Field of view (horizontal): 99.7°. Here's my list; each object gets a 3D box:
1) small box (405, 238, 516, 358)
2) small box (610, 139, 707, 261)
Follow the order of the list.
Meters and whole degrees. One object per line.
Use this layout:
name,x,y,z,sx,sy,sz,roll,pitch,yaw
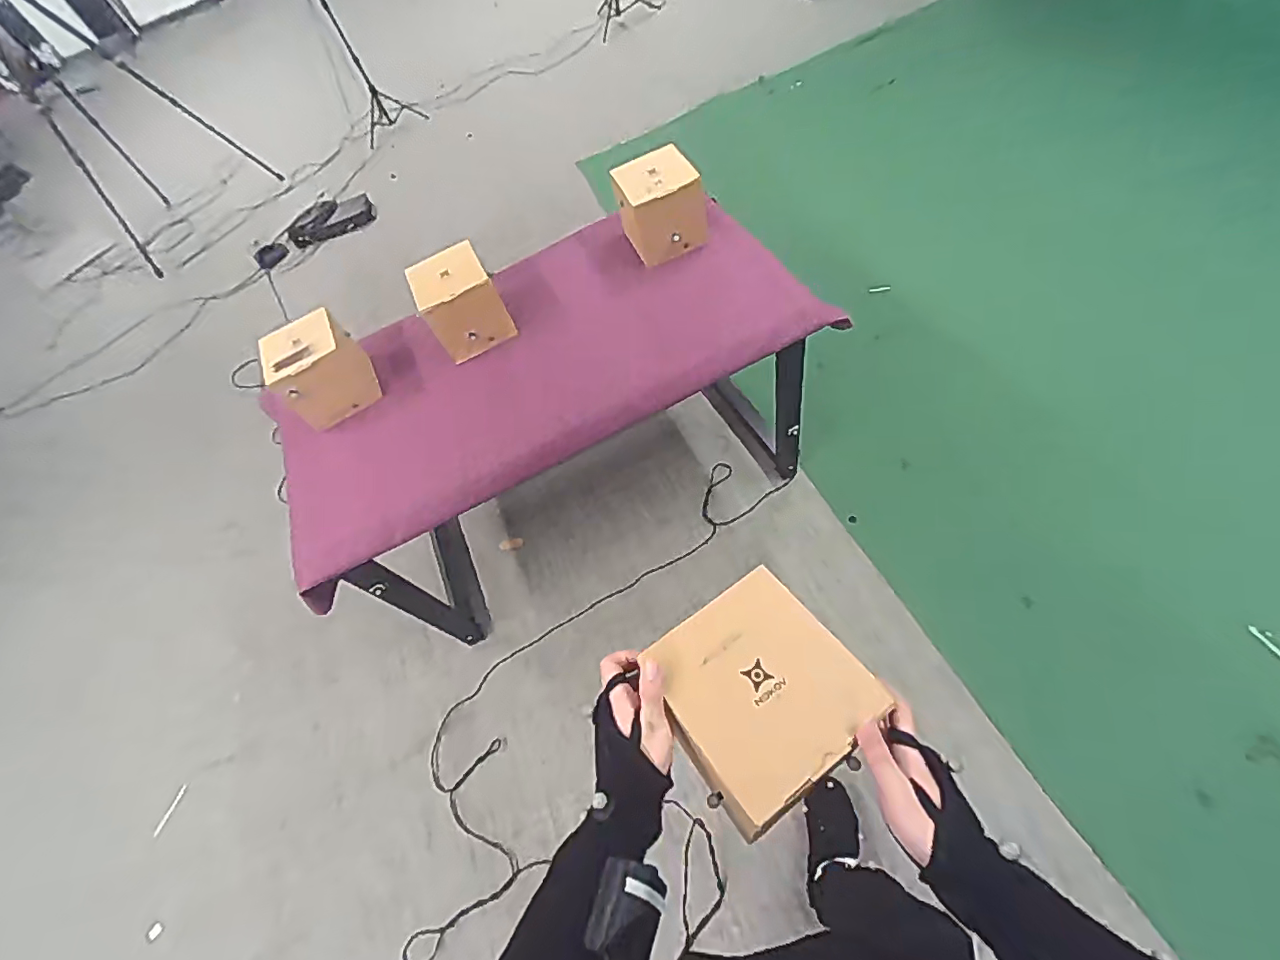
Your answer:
small box,-0.416,-0.421,1.264,0.168,0.176,0.179,-28,59,-3
small box,0.047,-0.660,1.283,0.168,0.176,0.179,-24,58,1
